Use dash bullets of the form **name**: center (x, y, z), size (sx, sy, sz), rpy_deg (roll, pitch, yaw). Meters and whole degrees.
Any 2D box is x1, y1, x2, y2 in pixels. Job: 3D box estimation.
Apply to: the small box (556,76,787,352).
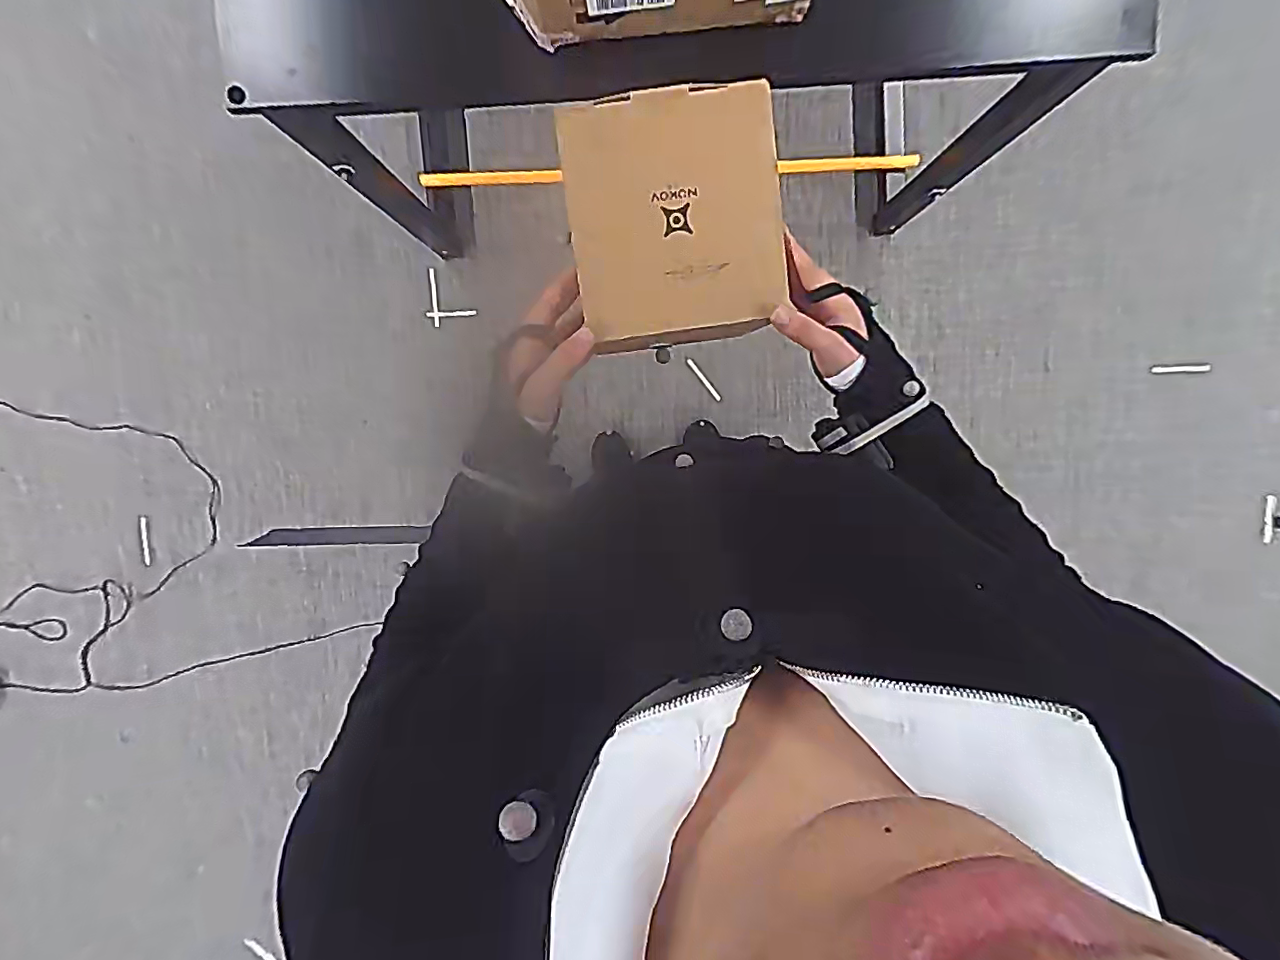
- **small box**: center (0.022, -0.220, 0.495), size (0.168, 0.176, 0.179), rpy_deg (-8, 100, -1)
